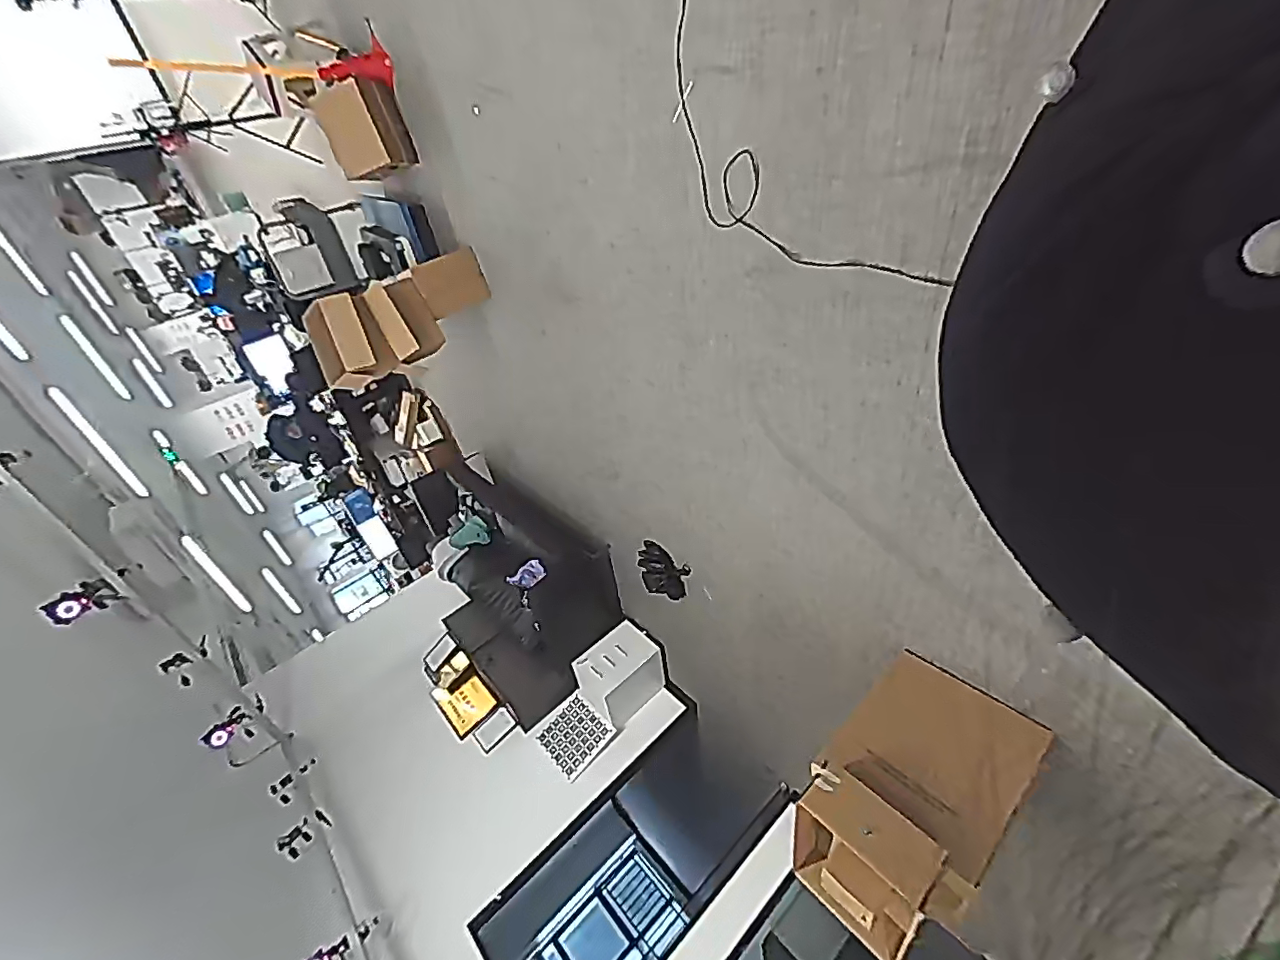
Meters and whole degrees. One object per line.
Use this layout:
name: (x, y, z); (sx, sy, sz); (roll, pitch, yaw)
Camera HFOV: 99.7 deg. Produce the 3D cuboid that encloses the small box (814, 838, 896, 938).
small box: (0.679, 1.283, 1.717); (0.179, 0.176, 0.168); (30, 143, 43)
